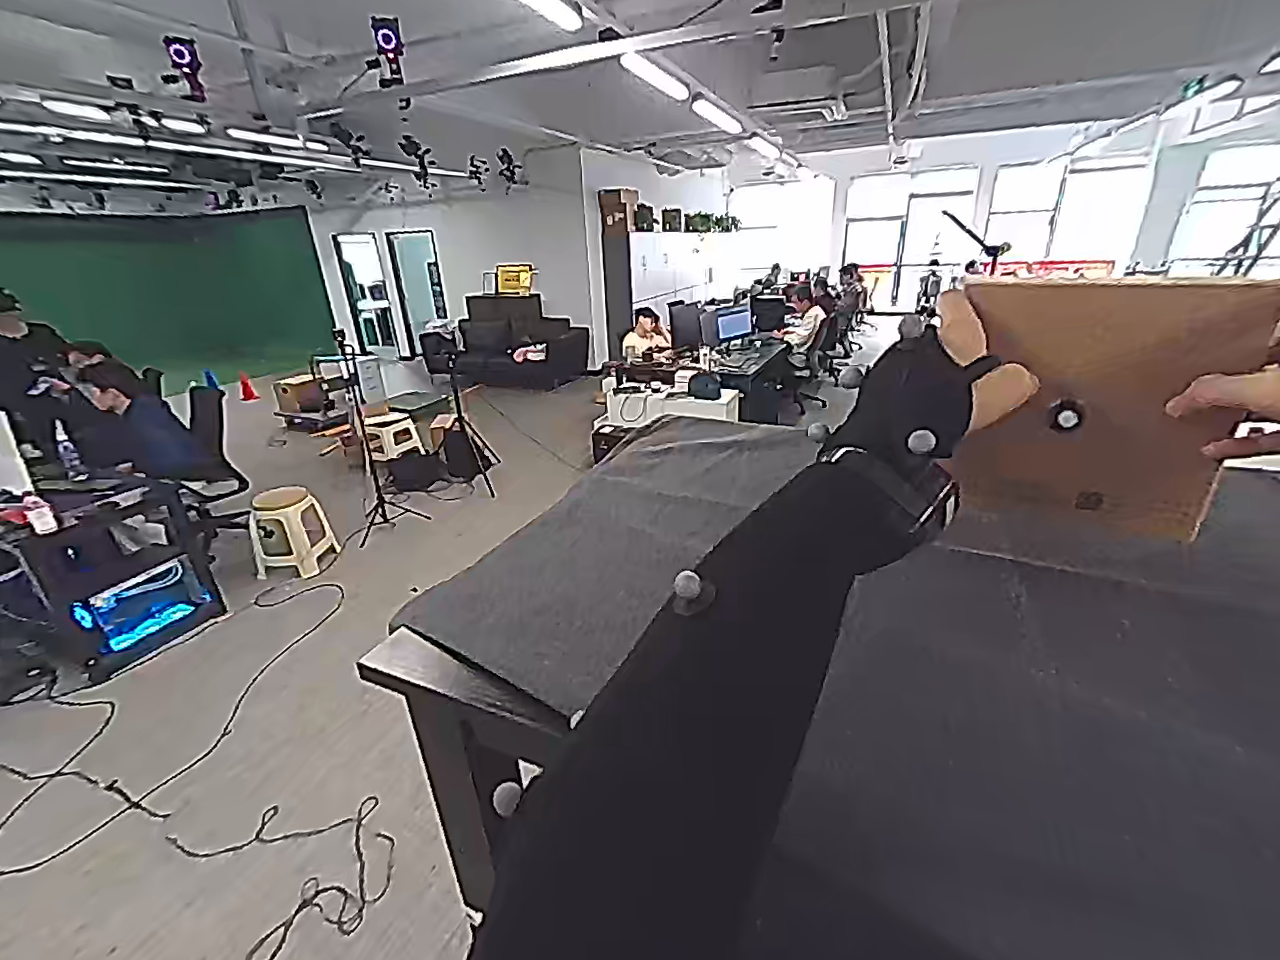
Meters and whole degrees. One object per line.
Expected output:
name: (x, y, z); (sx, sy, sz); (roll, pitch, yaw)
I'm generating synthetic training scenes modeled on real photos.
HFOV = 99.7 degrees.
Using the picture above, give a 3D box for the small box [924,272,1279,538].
small box: (0.334, -0.071, 0.431); (0.168, 0.176, 0.179); (10, 24, 25)
